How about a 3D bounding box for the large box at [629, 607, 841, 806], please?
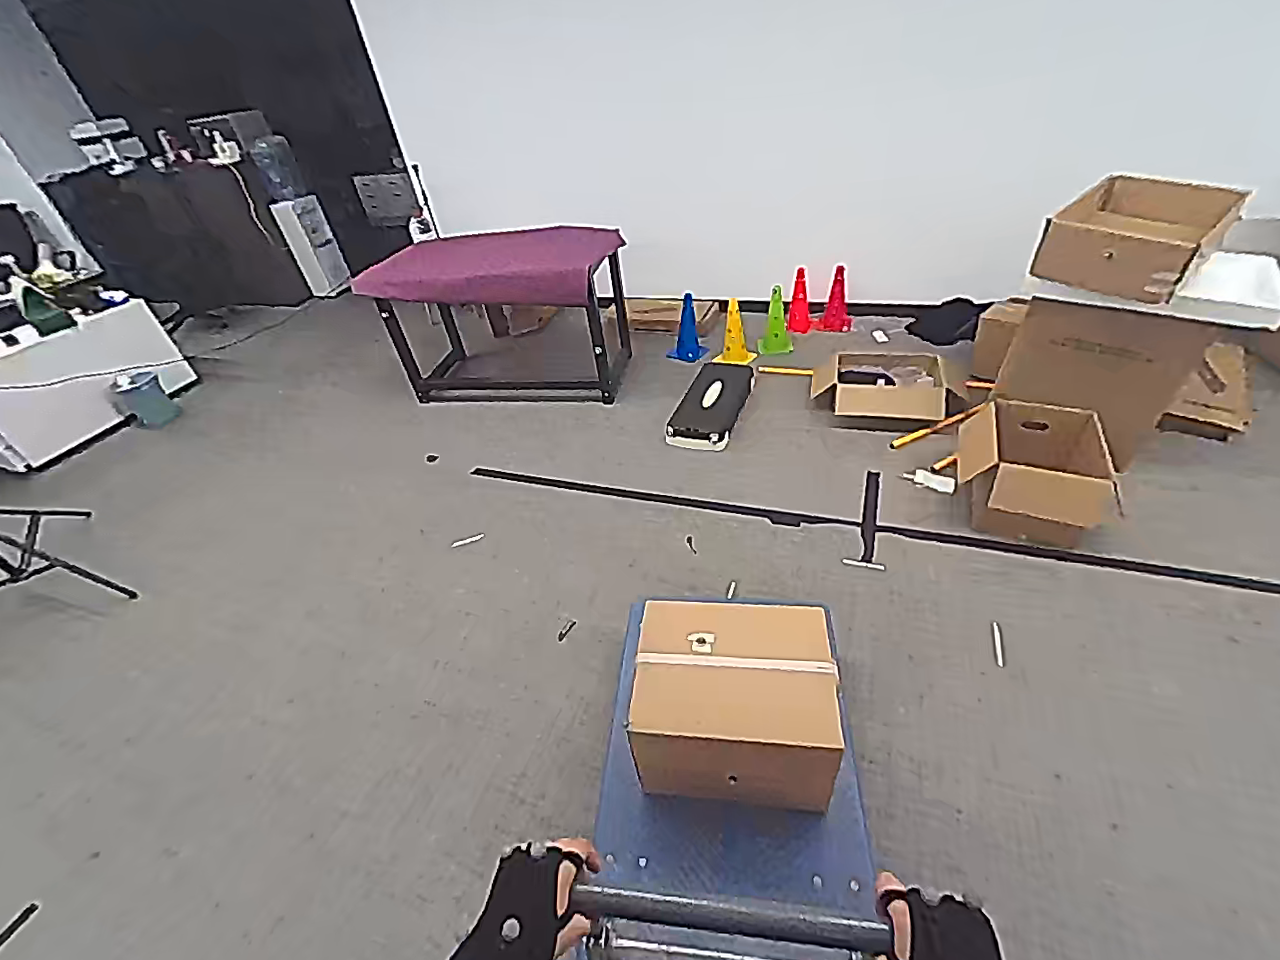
[{"bbox_3d":[0.211,0.507,1.227,0.408,0.320,0.320,-1,39,11],"label":"large box"}]
